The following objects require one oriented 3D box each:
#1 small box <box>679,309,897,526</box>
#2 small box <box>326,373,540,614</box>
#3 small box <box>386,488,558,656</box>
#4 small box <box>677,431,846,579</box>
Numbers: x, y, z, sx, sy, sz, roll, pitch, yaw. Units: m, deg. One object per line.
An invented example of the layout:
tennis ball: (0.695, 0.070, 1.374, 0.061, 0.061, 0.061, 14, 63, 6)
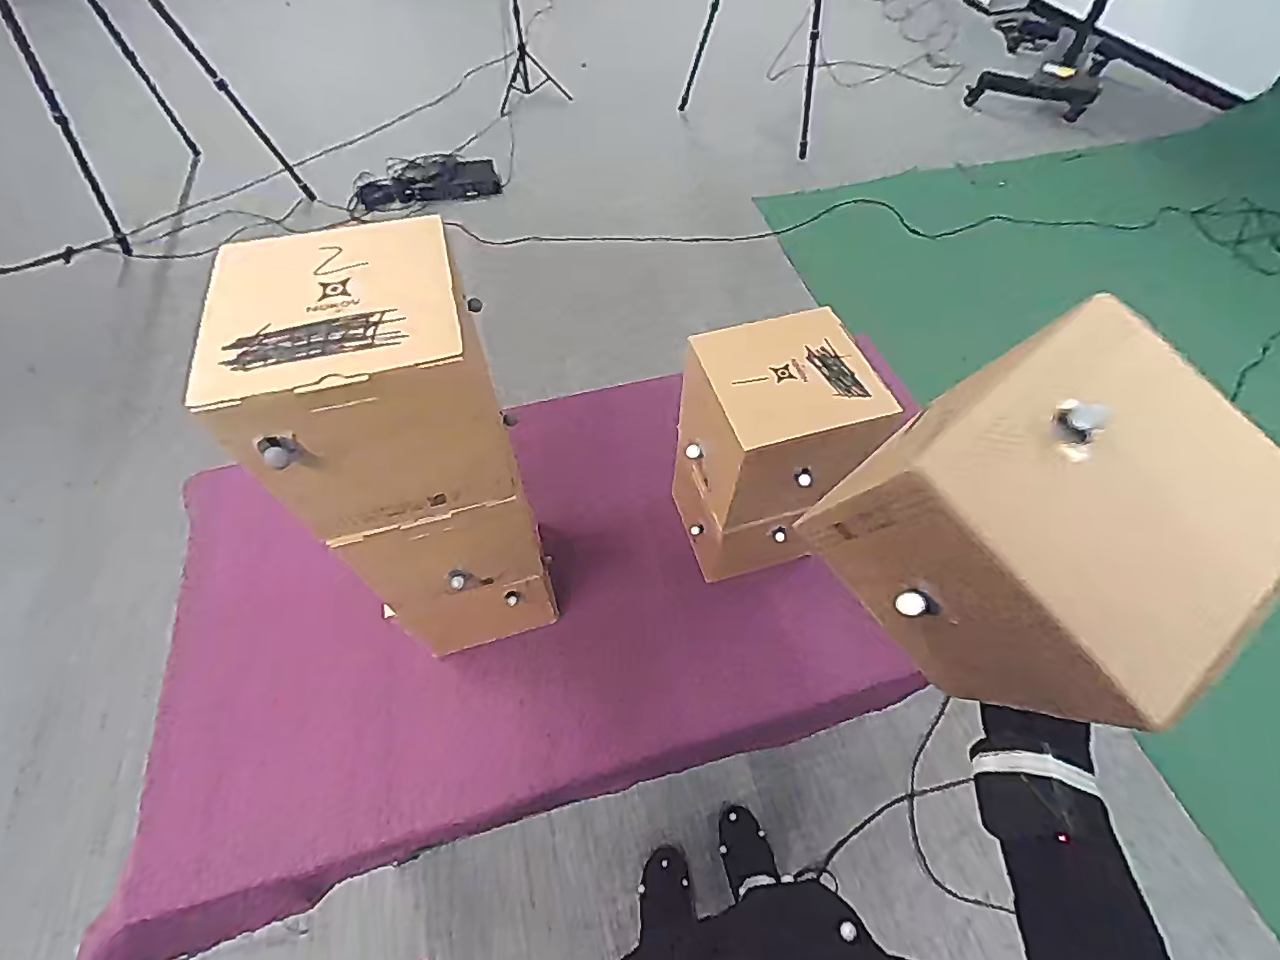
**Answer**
small box: (0.155, -0.069, 0.639, 0.179, 0.176, 0.168, -15, 58, -9)
small box: (-0.214, 0.017, 0.584, 0.168, 0.176, 0.179, -16, 58, -10)
small box: (-0.220, 0.114, 0.718, 0.179, 0.176, 0.168, -15, 58, -11)
small box: (0.157, 0.023, 0.775, 0.179, 0.176, 0.168, -14, 58, -9)
